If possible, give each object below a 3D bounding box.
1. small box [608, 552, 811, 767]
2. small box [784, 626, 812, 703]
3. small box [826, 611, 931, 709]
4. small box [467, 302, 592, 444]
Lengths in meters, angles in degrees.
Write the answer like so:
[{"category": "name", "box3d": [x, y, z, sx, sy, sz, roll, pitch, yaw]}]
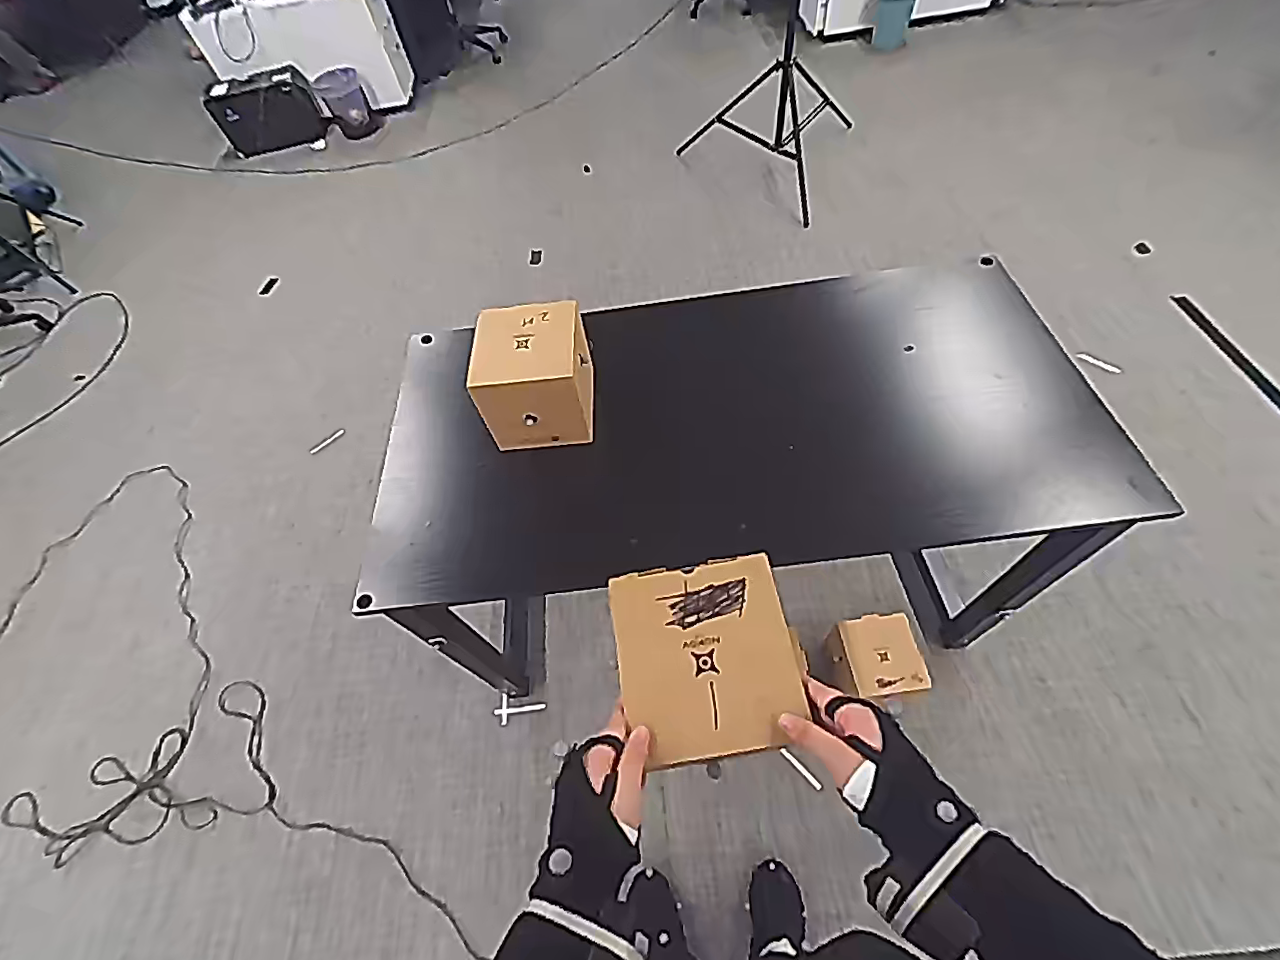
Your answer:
[{"category": "small box", "box3d": [0.063, 0.198, 0.580, 0.168, 0.176, 0.179, -10, 61, 0]}, {"category": "small box", "box3d": [0.302, 0.470, 1.322, 0.179, 0.176, 0.168, -8, 56, 3]}, {"category": "small box", "box3d": [0.563, 0.438, 1.307, 0.168, 0.176, 0.179, -9, 56, 3]}, {"category": "small box", "box3d": [-0.178, -0.173, 0.925, 0.168, 0.176, 0.179, -5, 57, 3]}]
